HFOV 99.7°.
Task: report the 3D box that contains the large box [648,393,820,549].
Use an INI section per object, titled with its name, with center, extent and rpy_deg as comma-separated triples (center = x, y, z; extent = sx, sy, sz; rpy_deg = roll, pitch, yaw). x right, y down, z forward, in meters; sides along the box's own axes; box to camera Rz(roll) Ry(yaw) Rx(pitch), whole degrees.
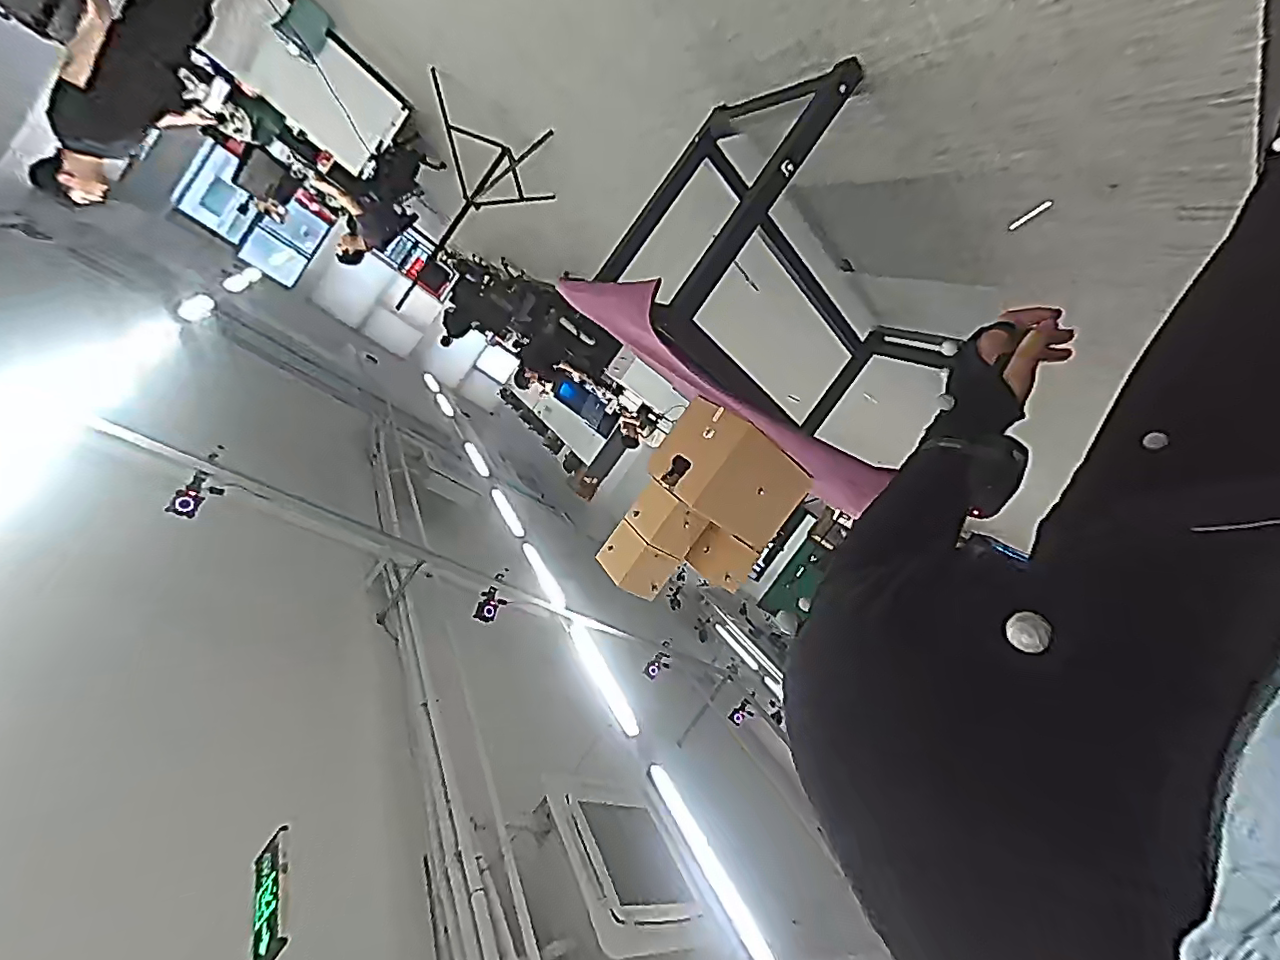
[large box]
center = 0.312, -0.033, 1.798
extent = 0.408, 0.320, 0.320
rpy_deg = 31, -172, -37

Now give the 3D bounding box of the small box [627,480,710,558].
[small box]
center = 0.094, 0.119, 1.748
extent = 0.168, 0.176, 0.179
rpy_deg = 30, -173, -37
